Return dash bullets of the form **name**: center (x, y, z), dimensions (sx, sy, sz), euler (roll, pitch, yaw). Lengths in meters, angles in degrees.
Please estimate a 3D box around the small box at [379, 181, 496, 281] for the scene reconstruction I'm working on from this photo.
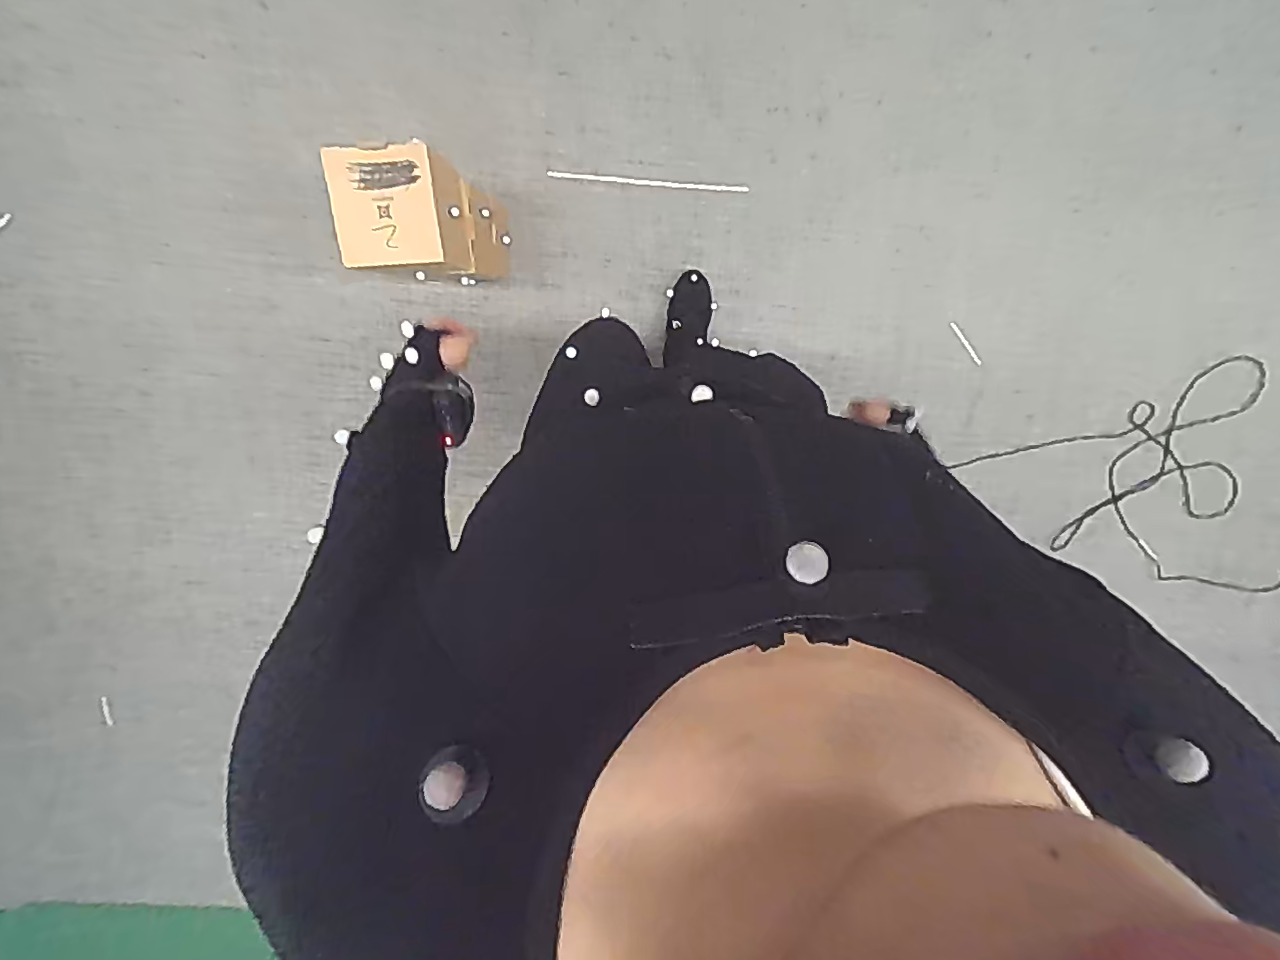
- **small box**: center (-0.399, -0.501, 1.103), dimensions (0.179, 0.176, 0.168), euler (0, 106, 1)

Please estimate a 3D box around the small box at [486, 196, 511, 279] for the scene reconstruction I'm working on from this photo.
- **small box**: center (-0.400, -0.560, 1.255), dimensions (0.179, 0.176, 0.168), euler (2, 107, -1)
